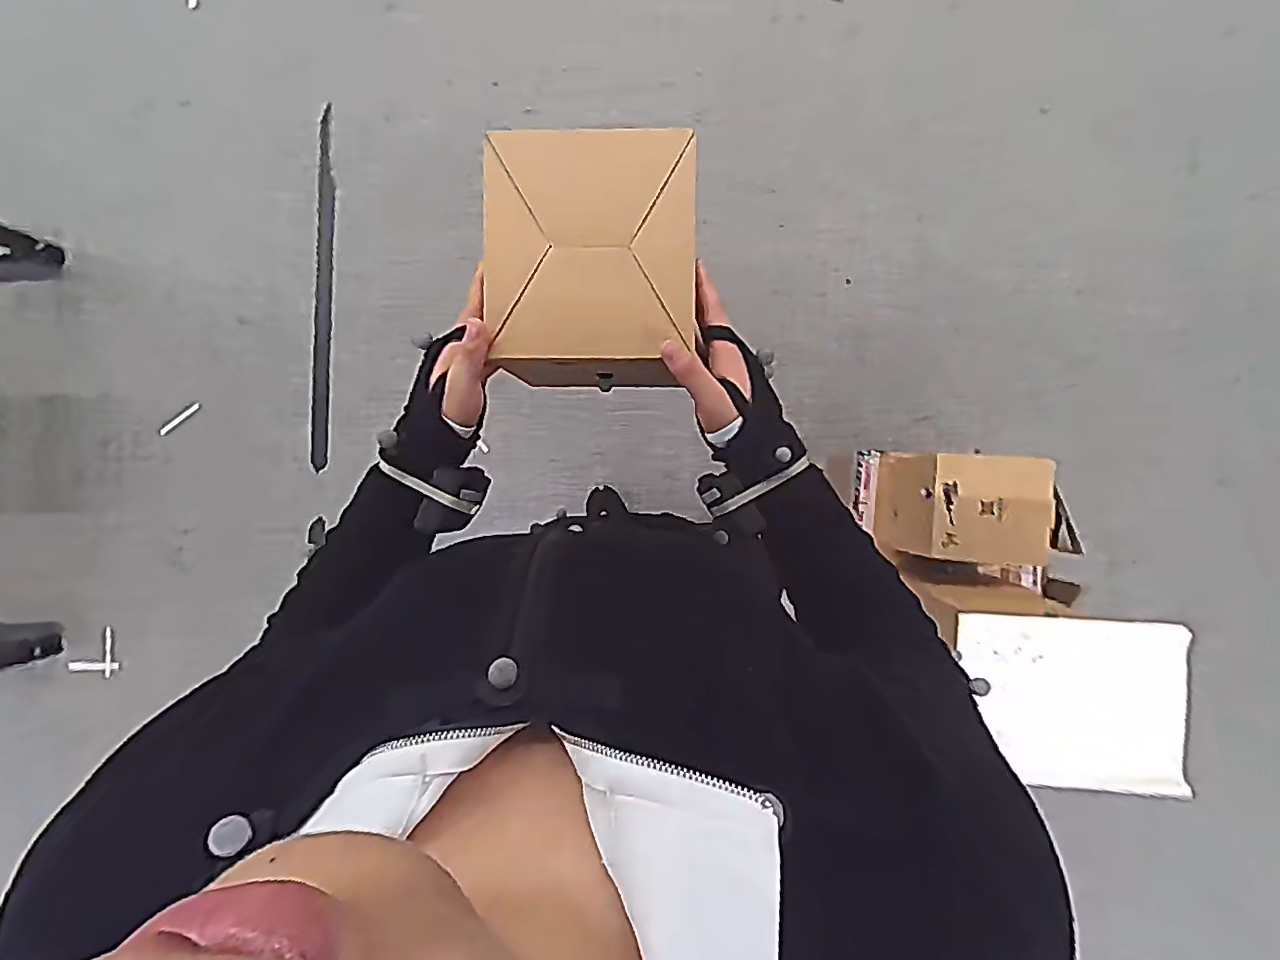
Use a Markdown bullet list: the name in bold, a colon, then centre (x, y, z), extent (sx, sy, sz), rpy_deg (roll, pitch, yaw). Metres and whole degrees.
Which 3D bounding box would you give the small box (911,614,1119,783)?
- **small box**: centre (0.512, 0.294, 0.761), extent (0.179, 0.176, 0.168), rpy_deg (3, 91, 4)
